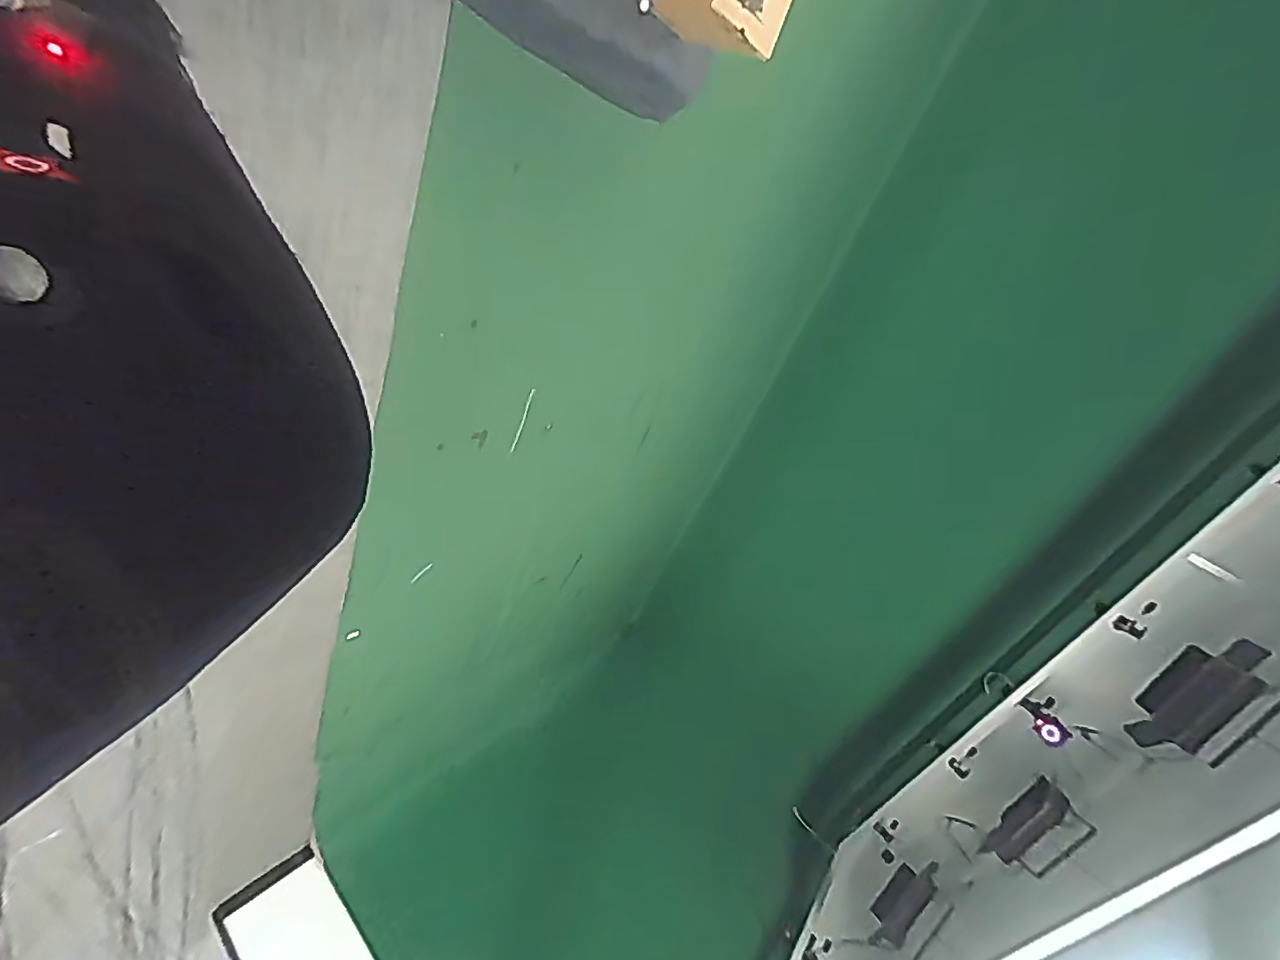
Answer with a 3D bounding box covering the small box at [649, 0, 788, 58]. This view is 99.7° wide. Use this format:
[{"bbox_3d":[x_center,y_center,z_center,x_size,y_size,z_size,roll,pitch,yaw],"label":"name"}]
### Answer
[{"bbox_3d":[0.104,-0.712,0.715,0.168,0.176,0.179,-17,138,-52],"label":"small box"}]
